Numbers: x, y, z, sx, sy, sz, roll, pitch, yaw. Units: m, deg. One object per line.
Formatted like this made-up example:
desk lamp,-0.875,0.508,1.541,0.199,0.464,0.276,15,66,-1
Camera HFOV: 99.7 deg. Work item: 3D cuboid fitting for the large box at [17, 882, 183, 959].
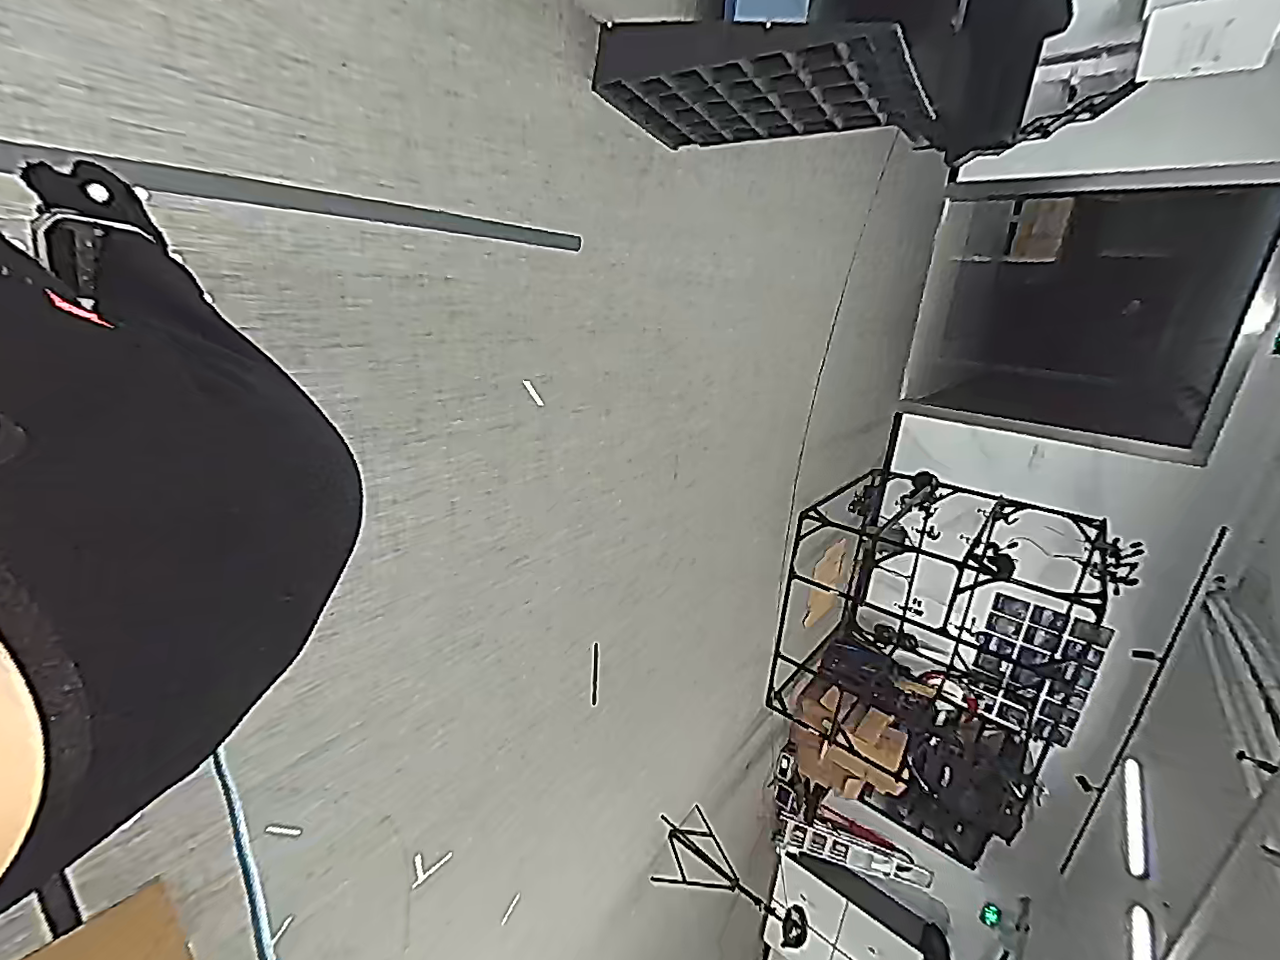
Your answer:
large box,-1.283,1.255,1.216,0.408,0.320,0.320,-18,119,-48
